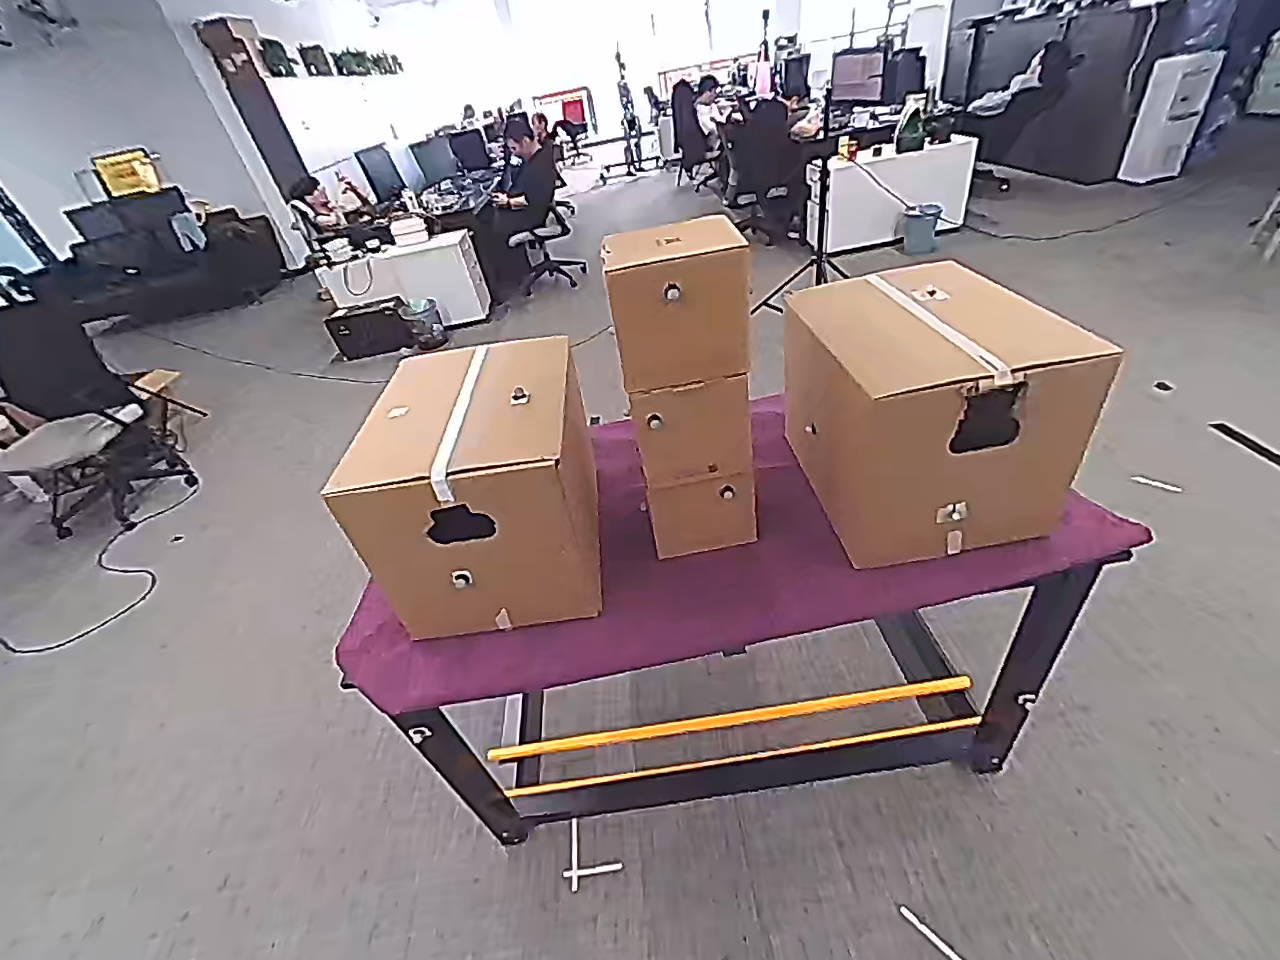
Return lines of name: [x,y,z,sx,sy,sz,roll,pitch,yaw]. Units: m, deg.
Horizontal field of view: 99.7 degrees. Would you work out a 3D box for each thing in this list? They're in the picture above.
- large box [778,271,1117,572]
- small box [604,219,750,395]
large box: [0.445,-0.113,0.907,0.320,0.320,0.408,-10,36,2]
small box: [0.051,-0.238,0.746,0.179,0.176,0.168,-10,37,4]
